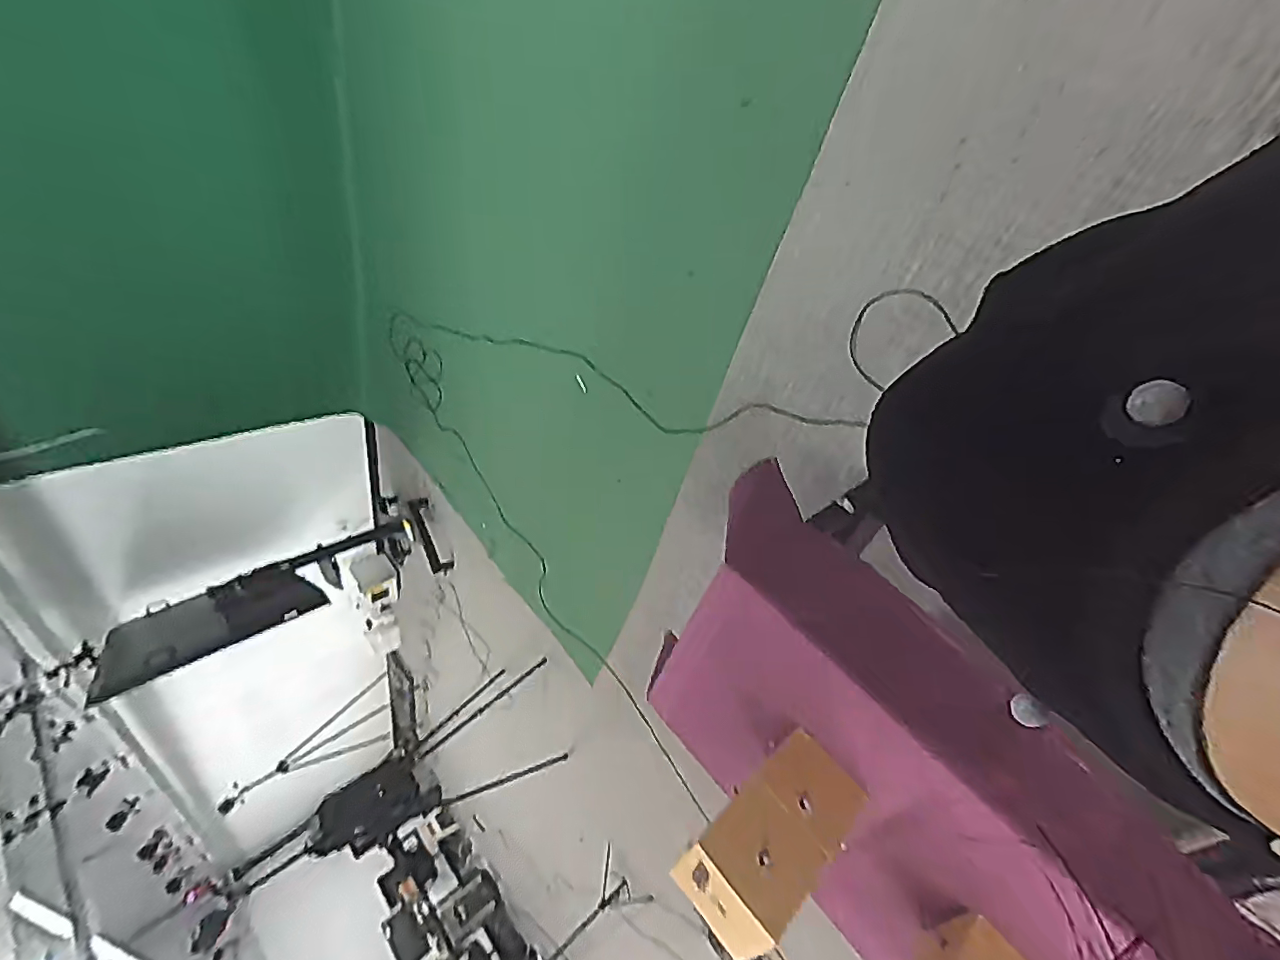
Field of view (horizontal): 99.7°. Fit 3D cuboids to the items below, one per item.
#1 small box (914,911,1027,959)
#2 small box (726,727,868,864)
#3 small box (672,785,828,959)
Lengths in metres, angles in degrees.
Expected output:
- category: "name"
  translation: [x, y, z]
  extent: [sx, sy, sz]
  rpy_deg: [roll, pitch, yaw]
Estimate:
- category: "small box"
  translation: [0.564, 0.872, 0.888]
  extent: [0.179, 0.176, 0.168]
  rpy_deg: [43, 135, 28]
- category: "small box"
  translation: [0.309, 0.628, 1.059]
  extent: [0.179, 0.176, 0.168]
  rpy_deg: [44, 135, 27]
- category: "small box"
  translation: [0.191, 0.677, 0.955]
  extent: [0.179, 0.176, 0.168]
  rpy_deg: [42, 134, 26]
